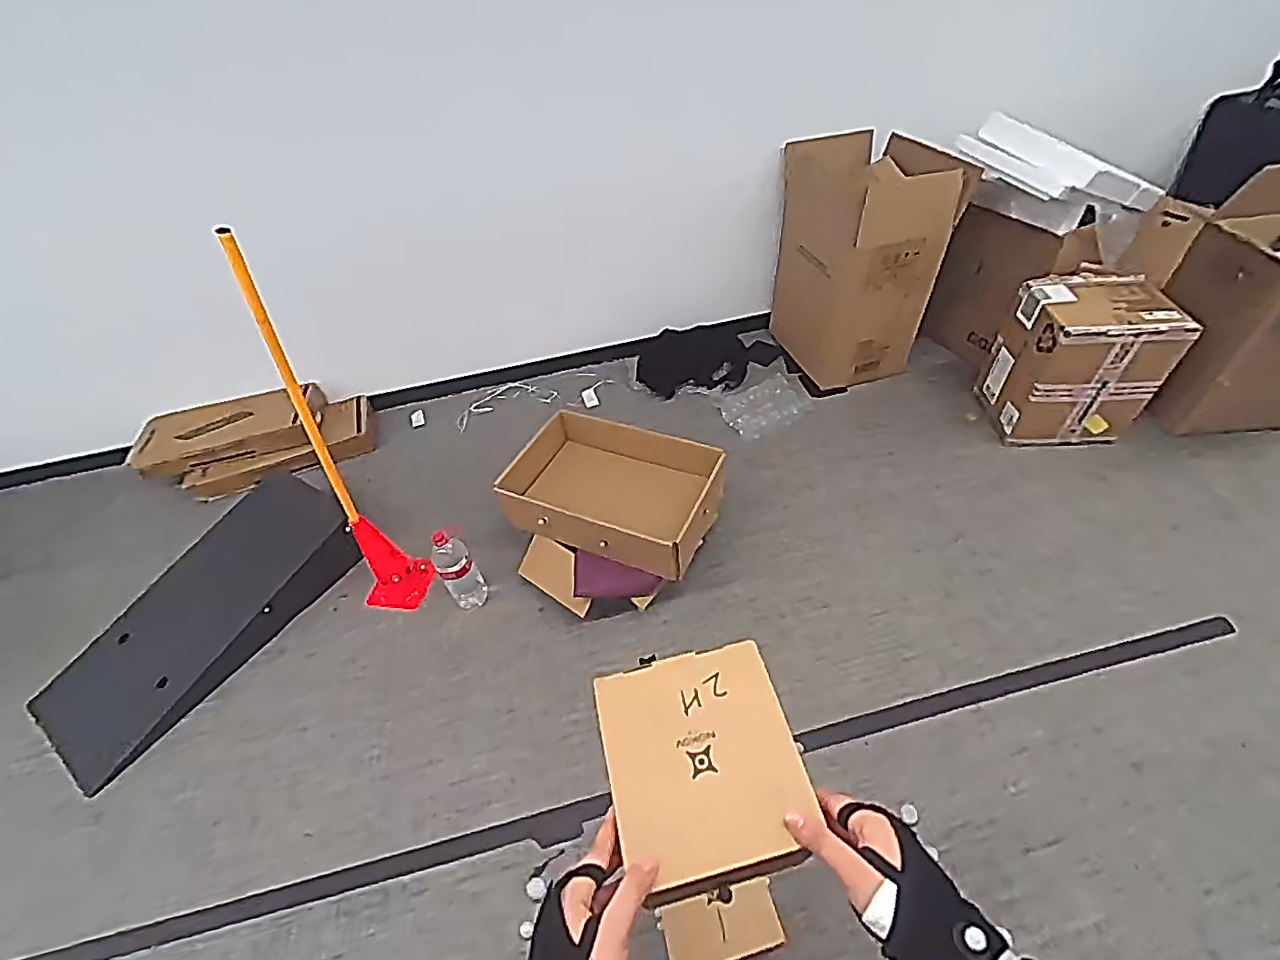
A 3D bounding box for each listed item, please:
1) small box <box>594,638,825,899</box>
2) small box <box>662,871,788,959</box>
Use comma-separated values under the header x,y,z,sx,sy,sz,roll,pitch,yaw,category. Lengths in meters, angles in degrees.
x,y,z,sx,sy,sz,roll,pitch,yaw,category
0.059,0.289,0.535,0.168,0.176,0.179,-13,48,-5,small box
0.119,0.670,0.871,0.168,0.176,0.179,-14,46,-6,small box
